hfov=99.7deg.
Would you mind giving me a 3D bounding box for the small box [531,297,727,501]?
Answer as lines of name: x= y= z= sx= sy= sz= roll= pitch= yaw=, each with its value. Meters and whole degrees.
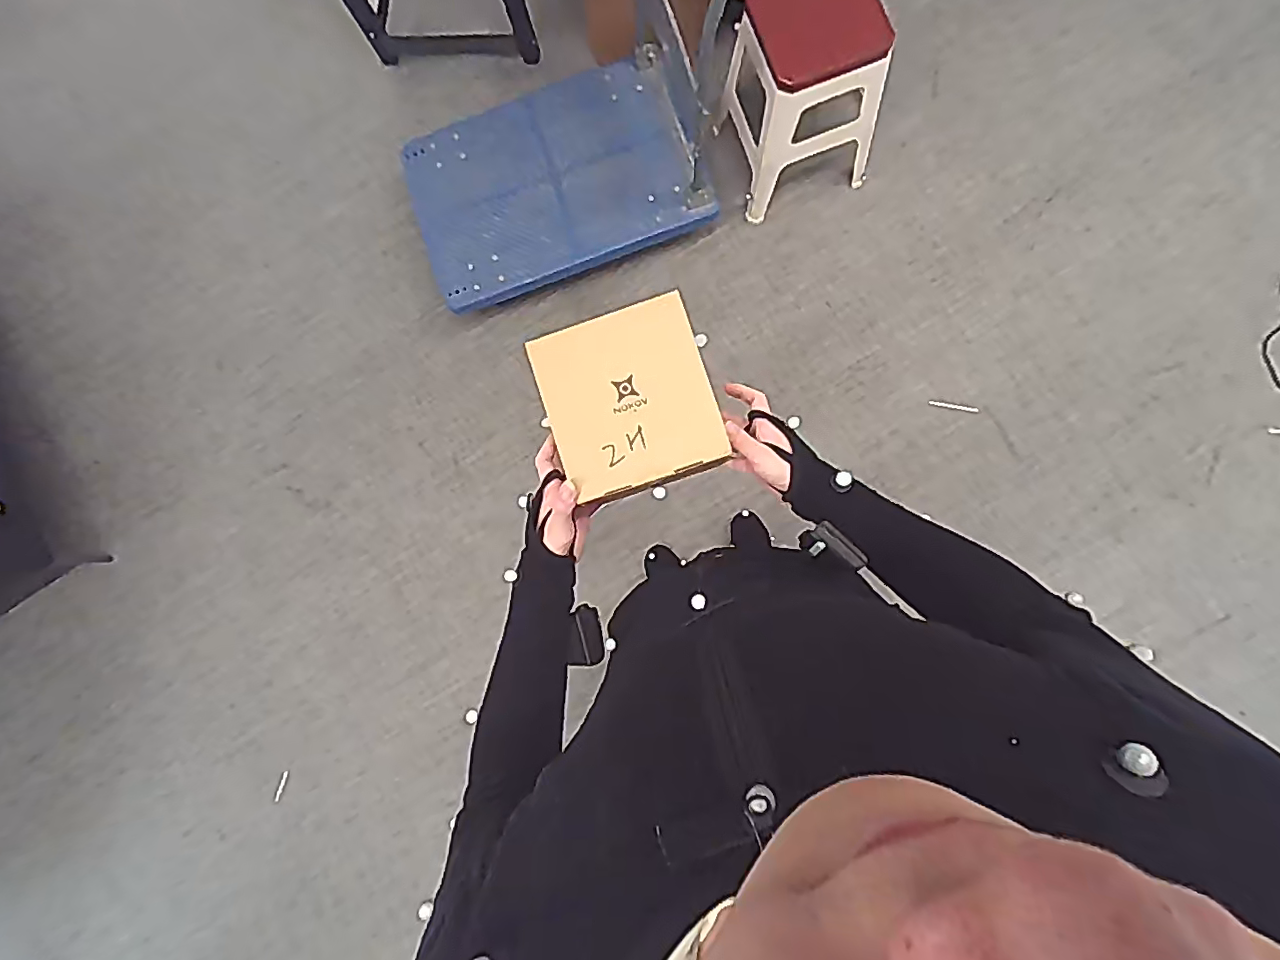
small box: x=-0.009 y=-0.079 z=0.627 sx=0.168 sy=0.176 sz=0.179 roll=-17 pitch=87 yaw=3
